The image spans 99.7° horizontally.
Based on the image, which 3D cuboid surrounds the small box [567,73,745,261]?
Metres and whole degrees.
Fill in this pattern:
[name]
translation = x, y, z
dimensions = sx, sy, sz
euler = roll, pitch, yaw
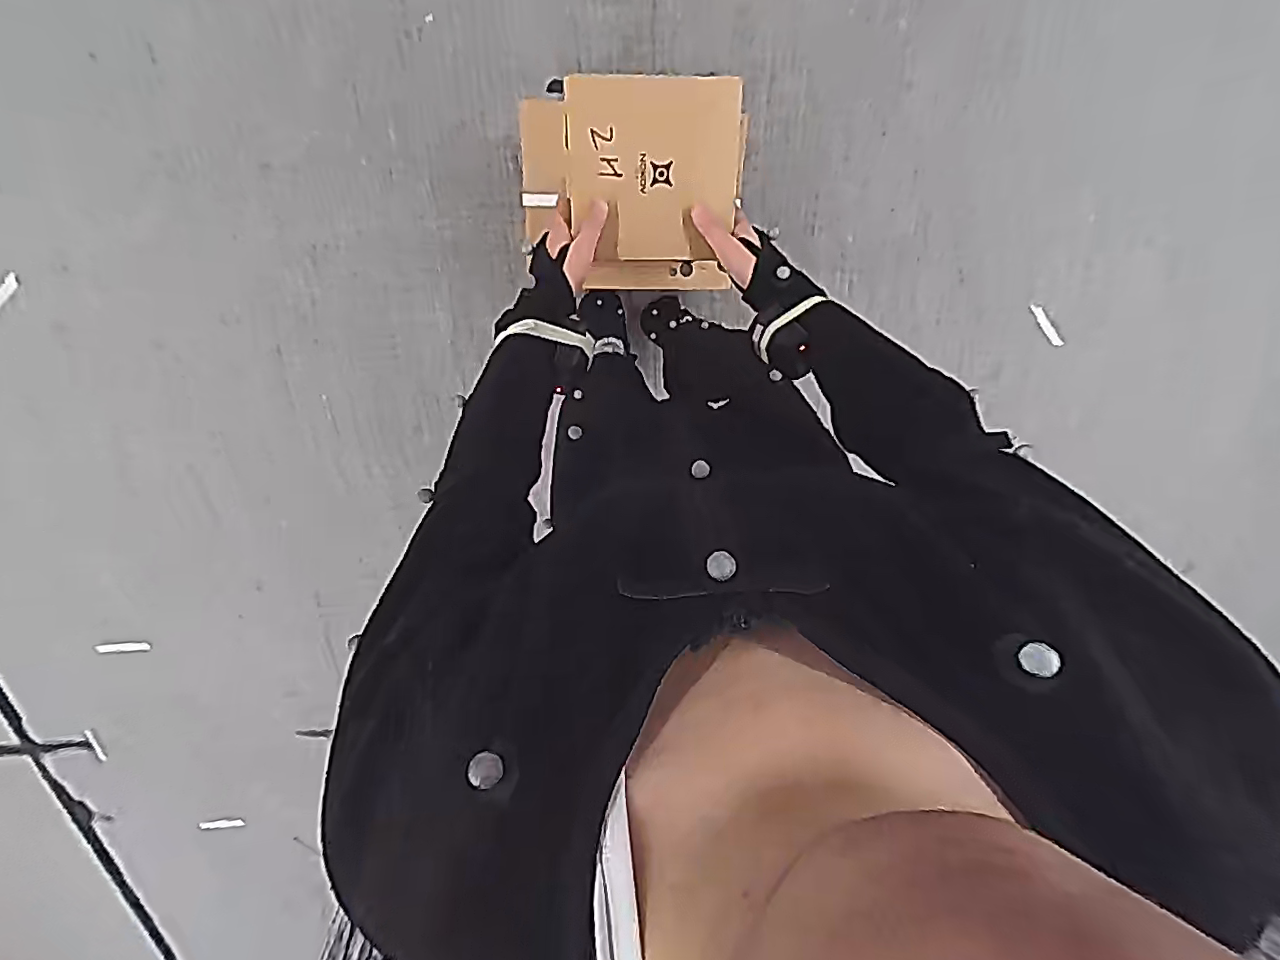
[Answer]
[small box]
translation = 0.010, -0.344, 0.621
dimensions = 0.179, 0.176, 0.168
euler = -1, 113, -3
